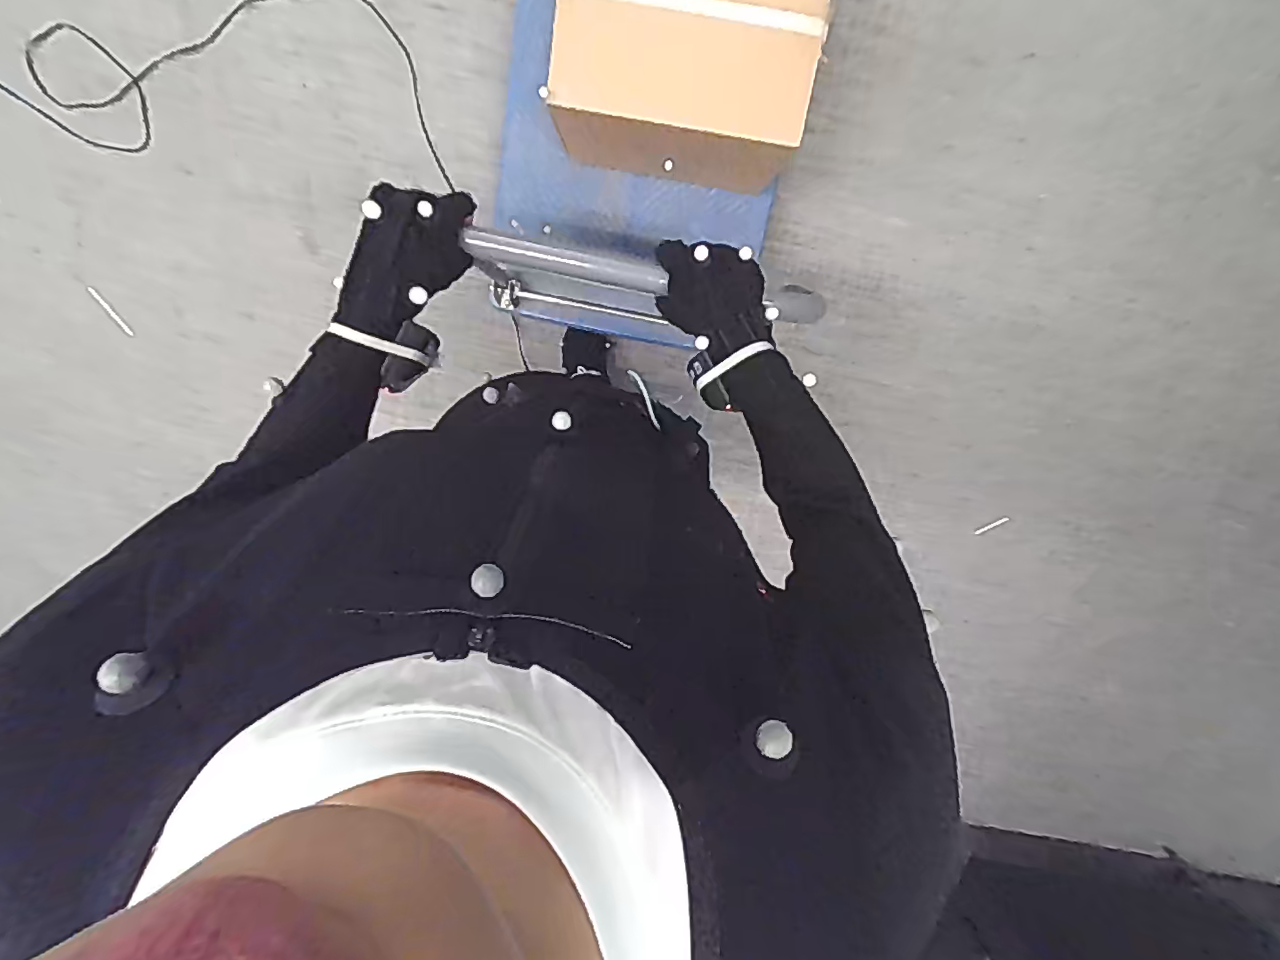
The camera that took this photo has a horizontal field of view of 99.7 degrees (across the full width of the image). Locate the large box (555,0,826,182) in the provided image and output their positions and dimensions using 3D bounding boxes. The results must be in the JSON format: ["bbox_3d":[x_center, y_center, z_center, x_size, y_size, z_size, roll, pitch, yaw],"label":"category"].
[{"bbox_3d":[0.085,-0.754,0.960,0.408,0.320,0.320,8,105,-1],"label":"large box"}]
